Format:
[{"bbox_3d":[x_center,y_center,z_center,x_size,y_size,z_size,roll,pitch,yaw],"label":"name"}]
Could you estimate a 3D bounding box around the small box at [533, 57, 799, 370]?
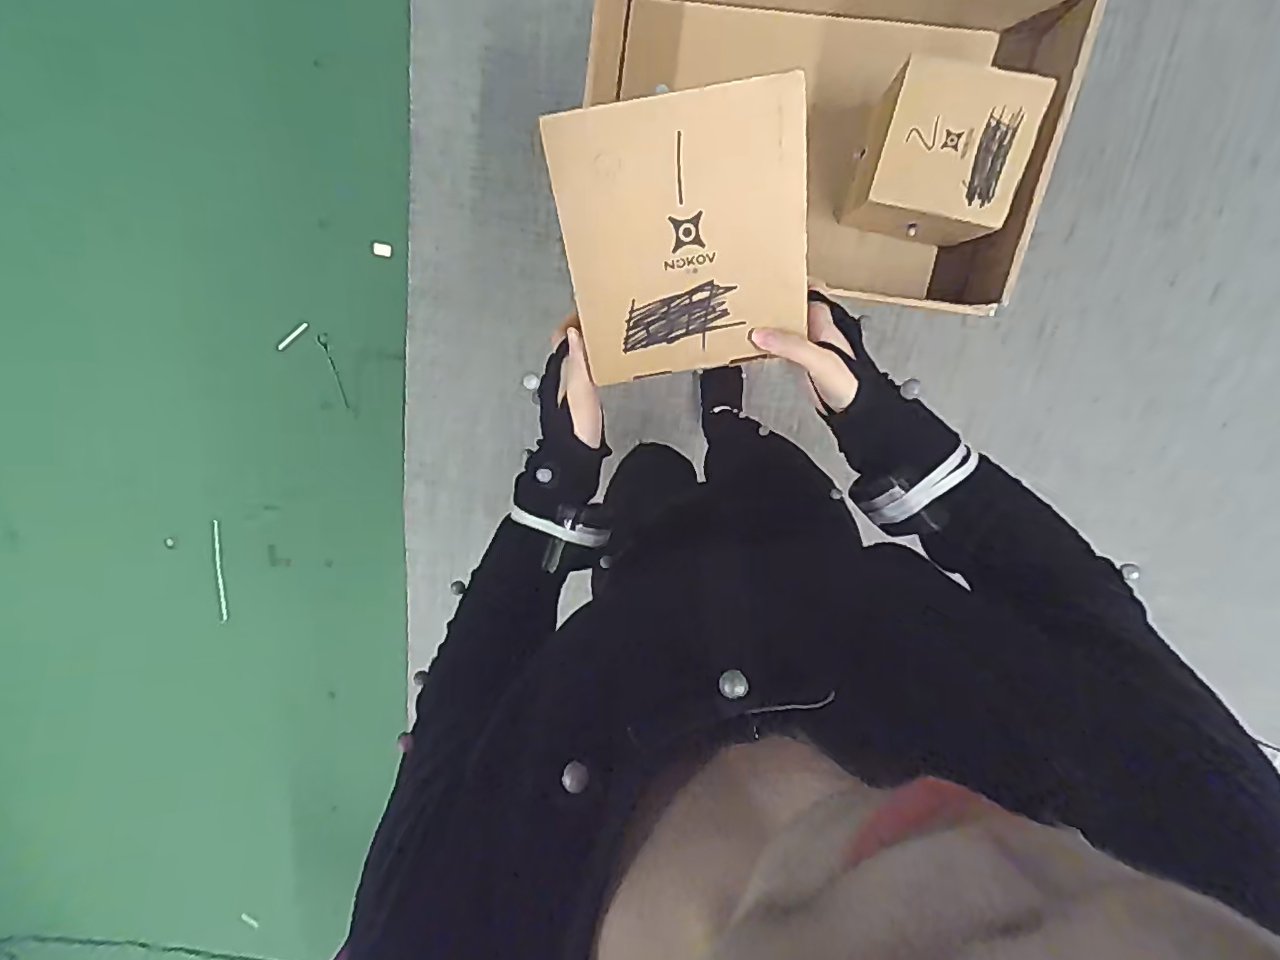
[{"bbox_3d":[0.023,-0.206,0.437,0.168,0.176,0.179,-9,118,2],"label":"small box"}]
